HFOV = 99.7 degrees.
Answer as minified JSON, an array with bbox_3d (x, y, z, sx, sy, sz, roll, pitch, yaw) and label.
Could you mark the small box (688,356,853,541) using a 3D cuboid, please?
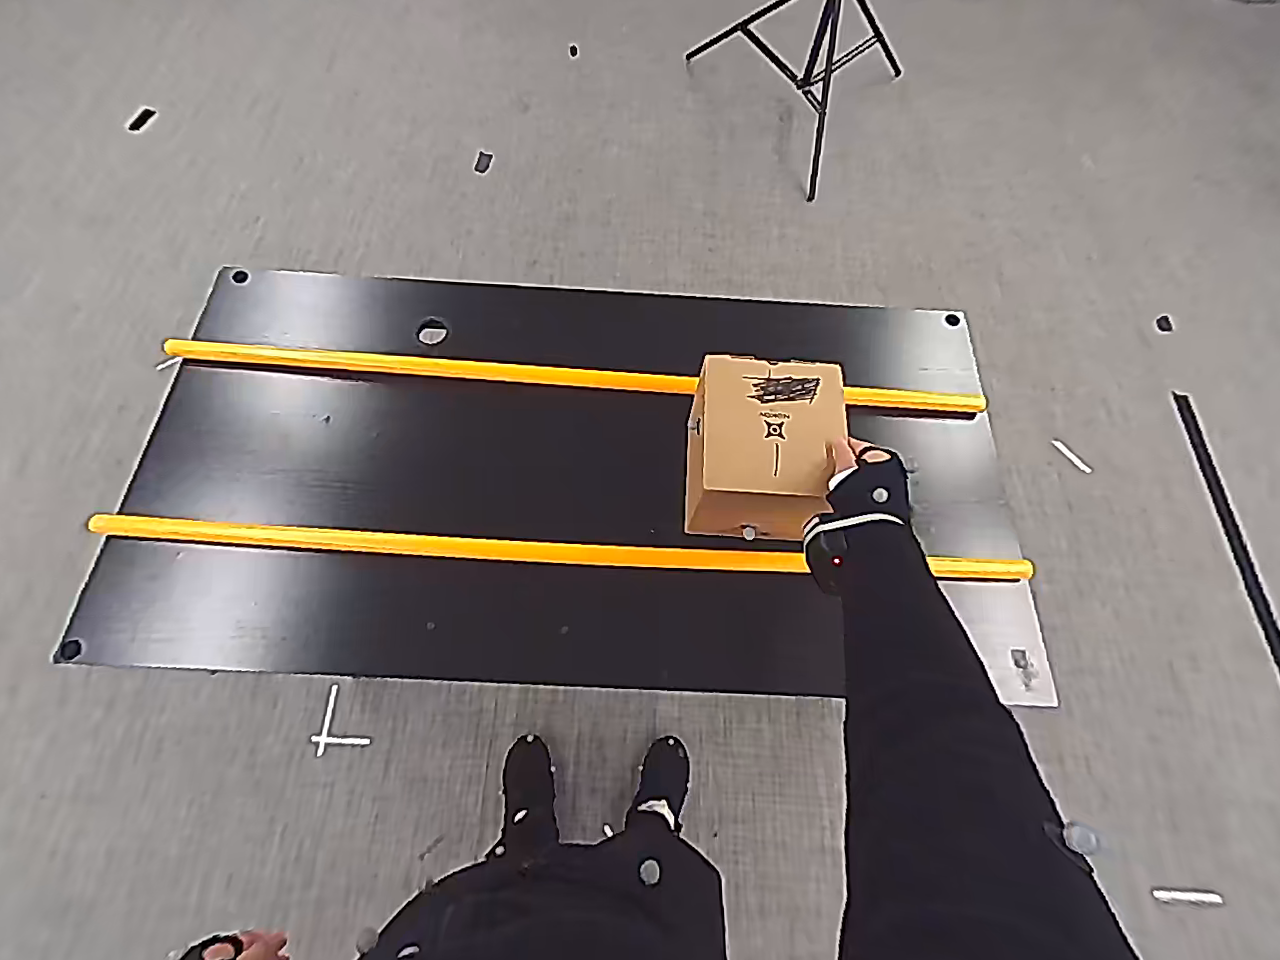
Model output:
[{"bbox_3d":[0.153,-0.034,0.692,0.168,0.176,0.179,4,68,0],"label":"small box"}]
